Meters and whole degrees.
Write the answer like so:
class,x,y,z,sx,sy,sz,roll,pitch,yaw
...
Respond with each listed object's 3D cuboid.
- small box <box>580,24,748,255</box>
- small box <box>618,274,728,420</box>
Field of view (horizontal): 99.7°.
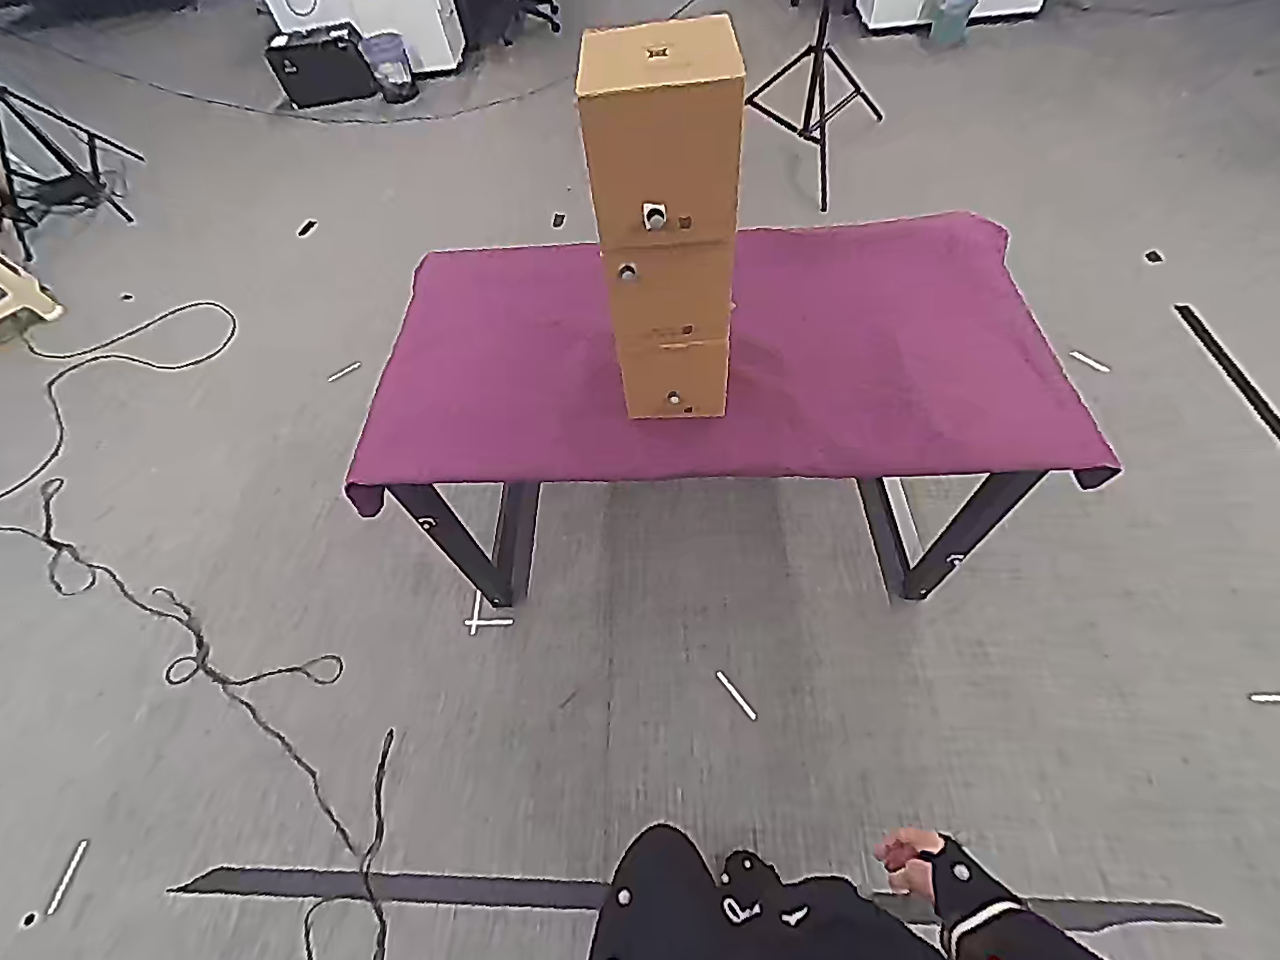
class,x,y,z,sx,sy,sz,roll,pitch,yaw
small box,0.028,-0.392,0.632,0.168,0.176,0.179,-4,56,4
small box,0.058,-0.220,0.909,0.168,0.176,0.179,-1,56,6
